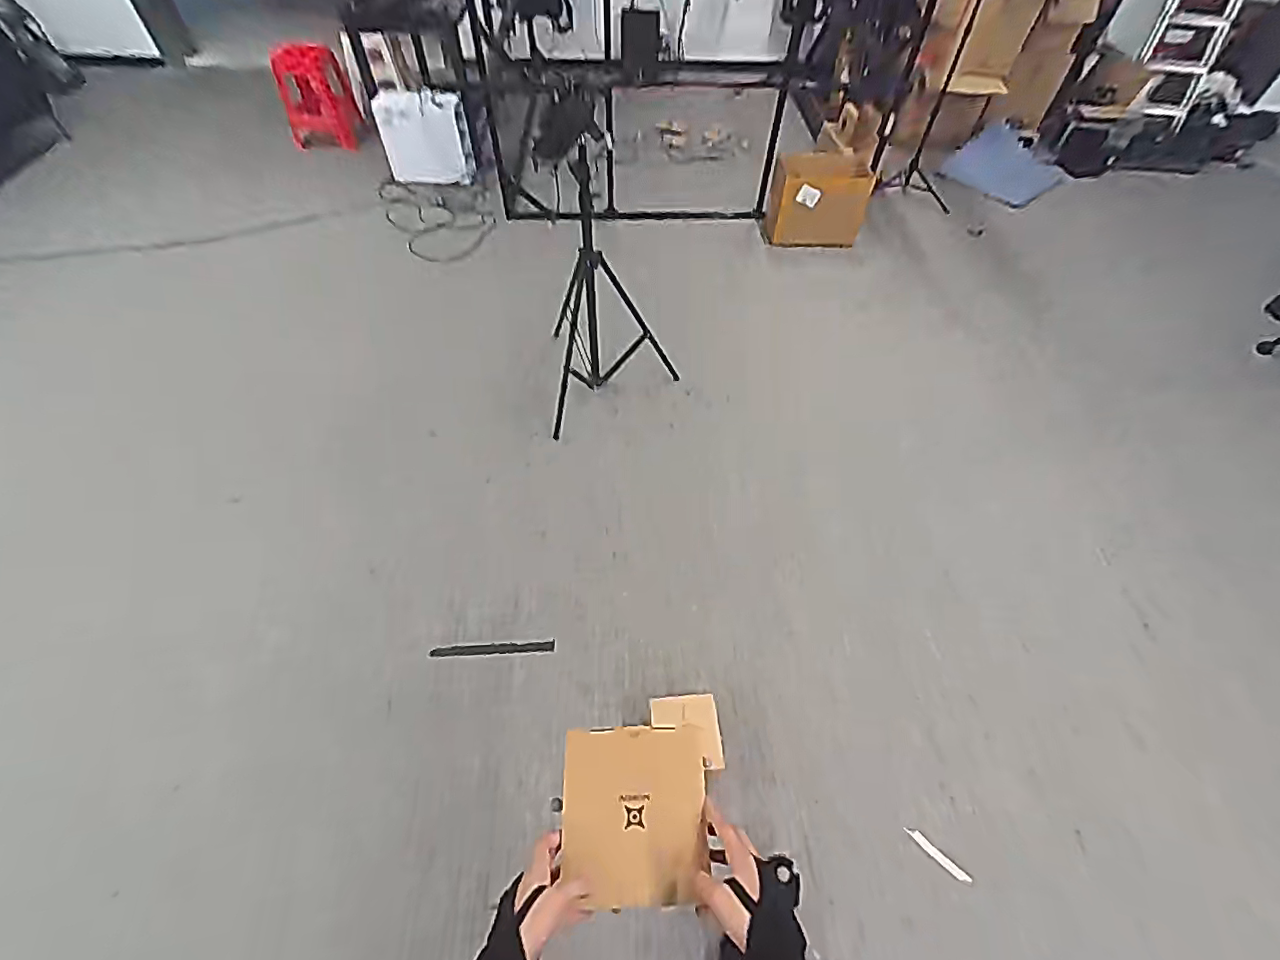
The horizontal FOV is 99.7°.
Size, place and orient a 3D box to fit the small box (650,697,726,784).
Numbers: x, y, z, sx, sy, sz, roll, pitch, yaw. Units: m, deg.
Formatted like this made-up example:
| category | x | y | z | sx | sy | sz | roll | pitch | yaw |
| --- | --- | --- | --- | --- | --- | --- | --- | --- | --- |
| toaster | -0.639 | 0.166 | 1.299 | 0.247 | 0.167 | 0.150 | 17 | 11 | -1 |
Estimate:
| category | x | y | z | sx | sy | sz | roll | pitch | yaw |
| --- | --- | --- | --- | --- | --- | --- | --- | --- | --- |
| small box | 0.114 | 0.665 | 1.363 | 0.168 | 0.176 | 0.179 | -3 | 52 | -4 |

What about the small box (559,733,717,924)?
| category | x | y | z | sx | sy | sz | roll | pitch | yaw |
| --- | --- | --- | --- | --- | --- | --- | --- | --- | --- |
| small box | -0.005 | 0.413 | 0.661 | 0.168 | 0.176 | 0.179 | 0 | 60 | -3 |
